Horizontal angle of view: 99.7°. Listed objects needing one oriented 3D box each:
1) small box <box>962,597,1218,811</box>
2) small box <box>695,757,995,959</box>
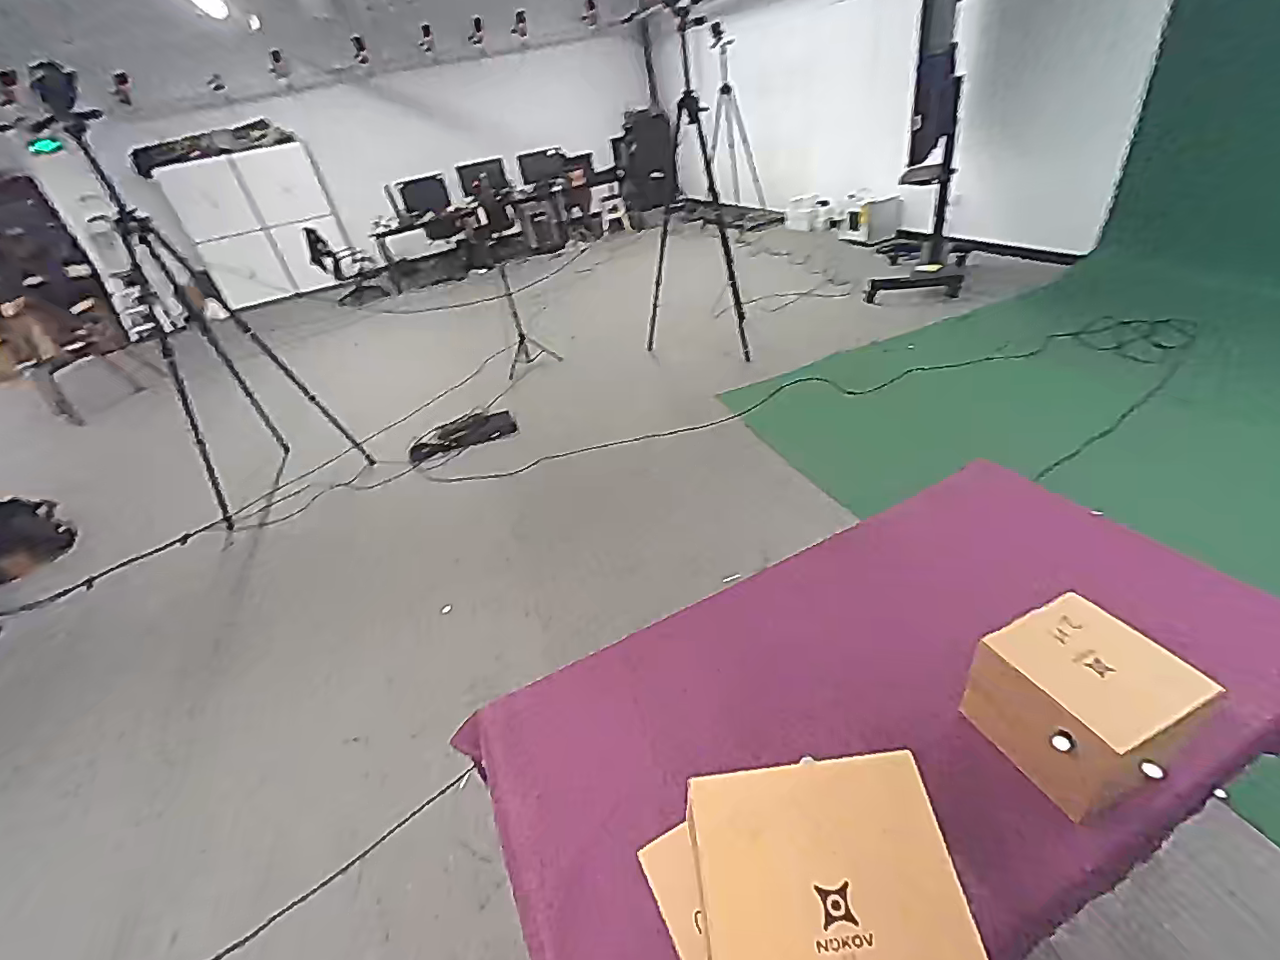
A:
[{"bbox_3d":[0.563,0.294,0.706,0.168,0.176,0.179,-20,35,-13],"label":"small box"},{"bbox_3d":[0.135,0.325,0.405,0.168,0.176,0.179,-6,55,0],"label":"small box"}]
